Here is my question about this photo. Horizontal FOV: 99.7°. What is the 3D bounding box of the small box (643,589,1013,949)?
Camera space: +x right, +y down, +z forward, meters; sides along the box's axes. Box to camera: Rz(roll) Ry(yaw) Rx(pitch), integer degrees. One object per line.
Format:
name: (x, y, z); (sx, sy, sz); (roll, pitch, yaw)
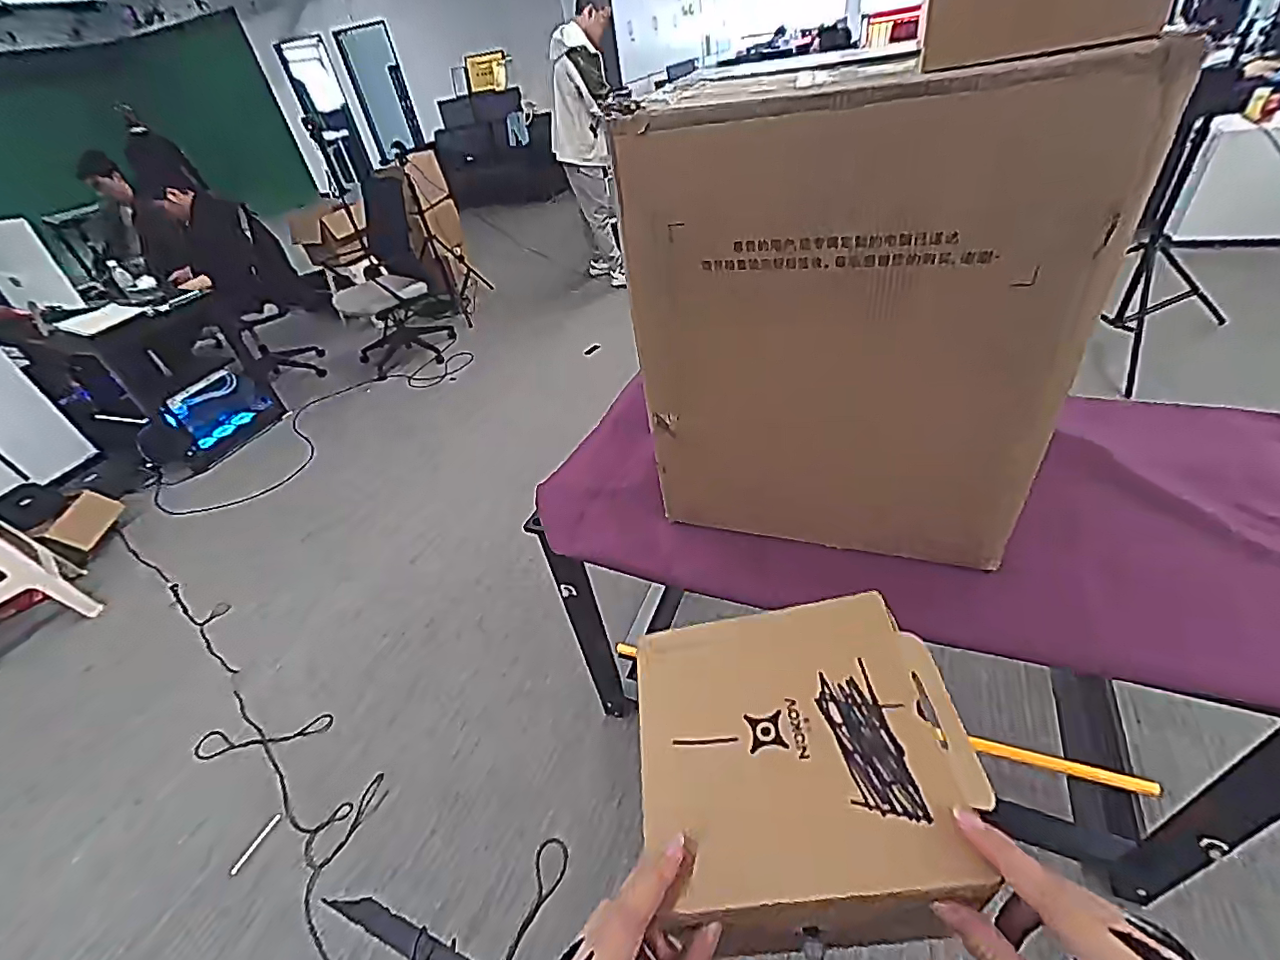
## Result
small box: (0.108, 0.202, 0.374); (0.179, 0.176, 0.168); (-13, 42, 9)

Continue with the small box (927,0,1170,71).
small box: (0.354, -0.472, 0.463); (0.179, 0.176, 0.168); (8, 43, 23)
